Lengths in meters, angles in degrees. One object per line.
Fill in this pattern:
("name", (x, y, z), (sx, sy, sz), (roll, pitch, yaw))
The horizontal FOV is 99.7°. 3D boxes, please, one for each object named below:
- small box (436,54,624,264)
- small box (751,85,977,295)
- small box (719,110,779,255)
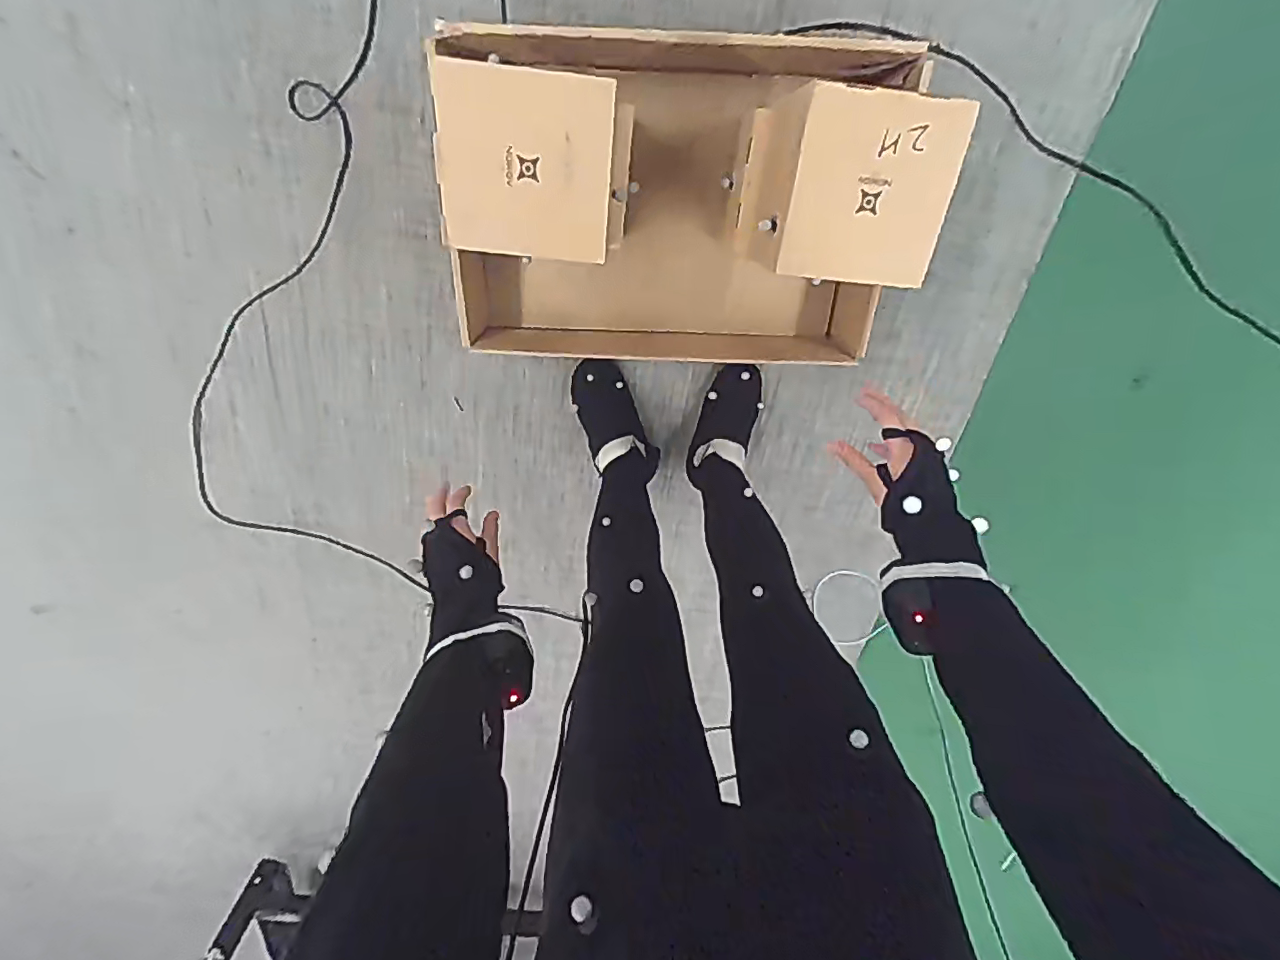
("small box", (-0.113, -0.350, 0.610), (0.179, 0.176, 0.168), (5, 119, -4))
("small box", (0.235, -0.326, 0.626), (0.168, 0.176, 0.179), (5, 117, -5))
("small box", (0.218, -0.405, 0.770), (0.179, 0.176, 0.168), (6, 117, -4))
